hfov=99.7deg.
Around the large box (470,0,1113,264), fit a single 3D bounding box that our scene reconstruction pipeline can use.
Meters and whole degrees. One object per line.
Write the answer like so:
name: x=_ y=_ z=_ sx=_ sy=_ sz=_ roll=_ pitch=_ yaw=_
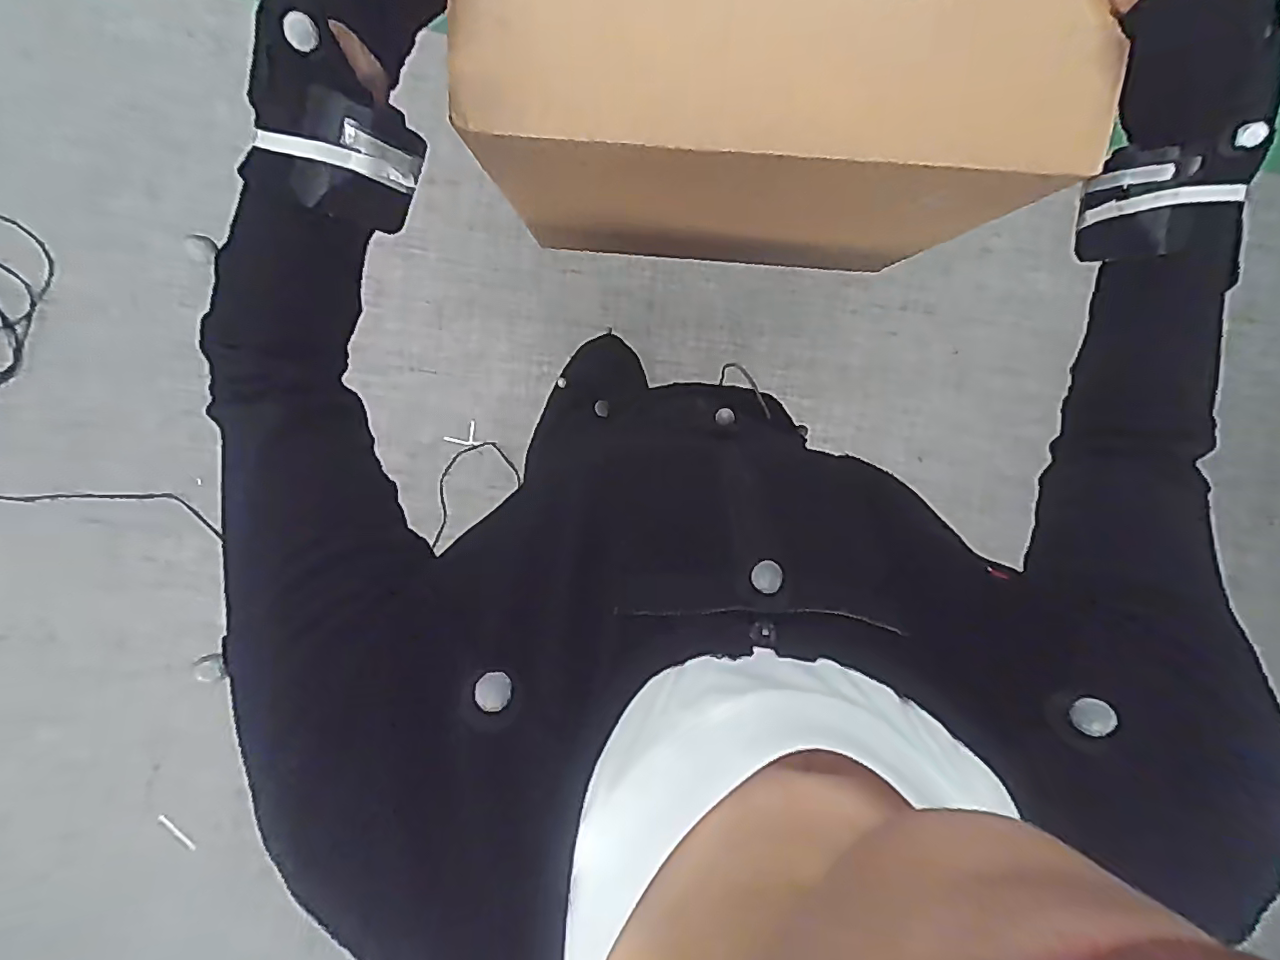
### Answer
large box: x=0.093 y=-0.386 z=0.468 sx=0.408 sy=0.320 sz=0.320 roll=3 pitch=101 yaw=-1
